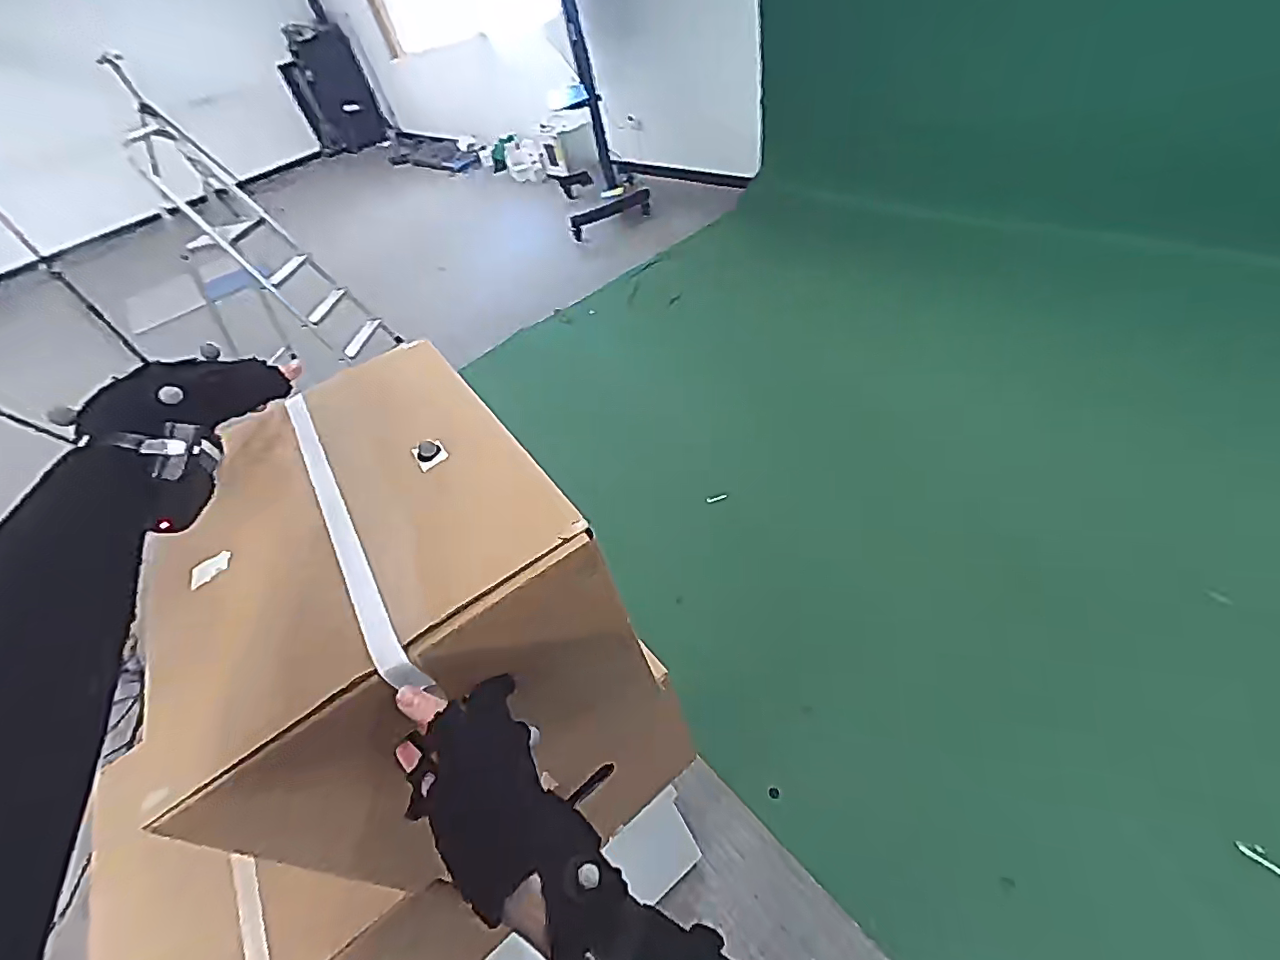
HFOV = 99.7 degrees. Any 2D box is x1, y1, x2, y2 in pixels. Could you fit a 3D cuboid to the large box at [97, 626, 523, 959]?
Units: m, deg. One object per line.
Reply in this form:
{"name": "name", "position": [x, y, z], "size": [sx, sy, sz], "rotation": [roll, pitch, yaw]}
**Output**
{"name": "large box", "position": [-0.423, 0.488, 0.721], "size": [0.320, 0.320, 0.408], "rotation": [-35, 47, -19]}
